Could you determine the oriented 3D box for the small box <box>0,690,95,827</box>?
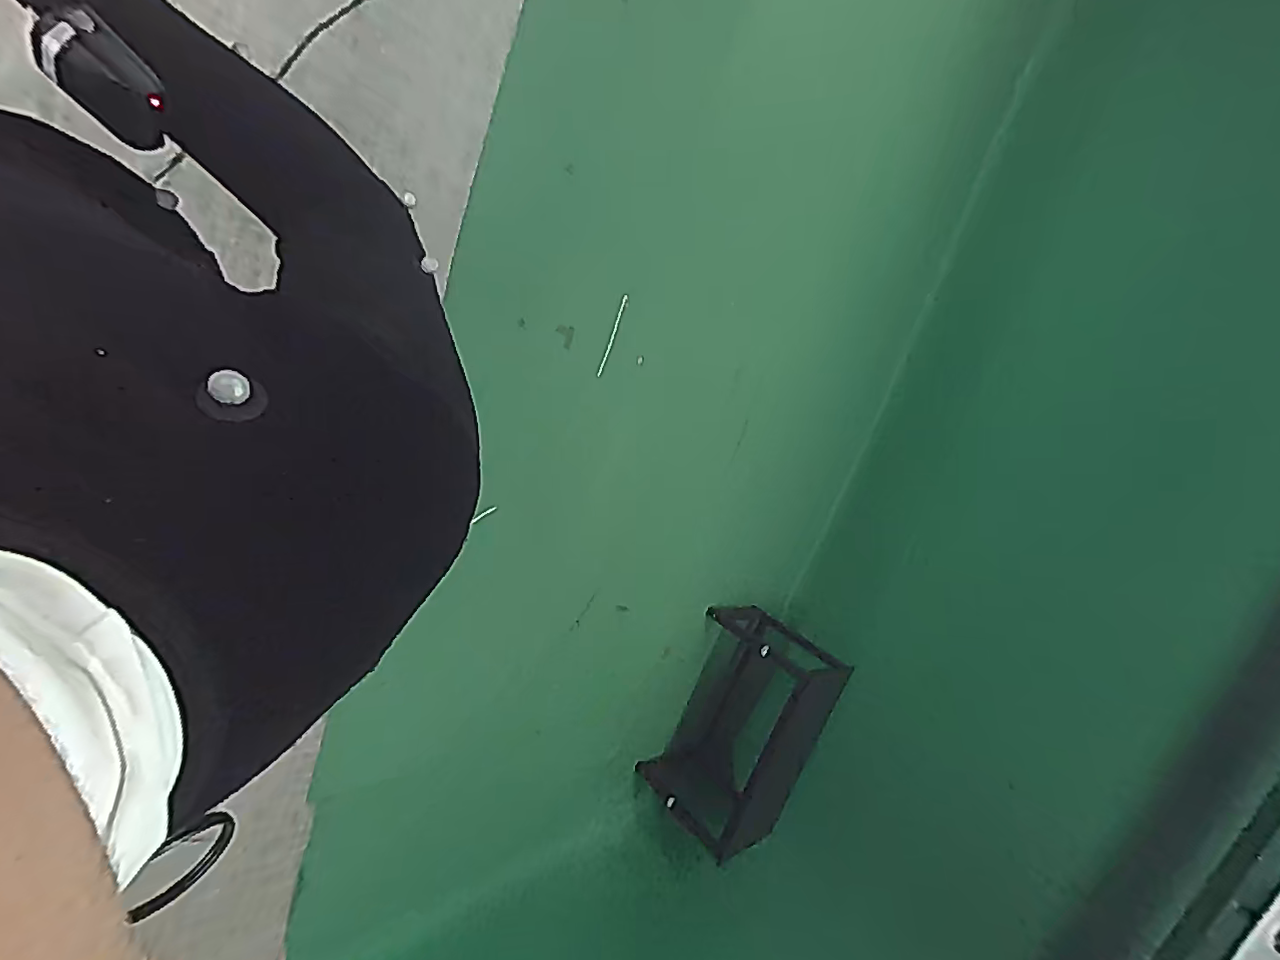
[{"bbox_3d":[-1.154,0.511,1.003,0.179,0.176,0.168,18,98,-47],"label":"small box"}]

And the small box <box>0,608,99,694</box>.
[{"bbox_3d":[-1.367,0.404,1.227,0.179,0.176,0.168,15,101,-46],"label":"small box"}]
